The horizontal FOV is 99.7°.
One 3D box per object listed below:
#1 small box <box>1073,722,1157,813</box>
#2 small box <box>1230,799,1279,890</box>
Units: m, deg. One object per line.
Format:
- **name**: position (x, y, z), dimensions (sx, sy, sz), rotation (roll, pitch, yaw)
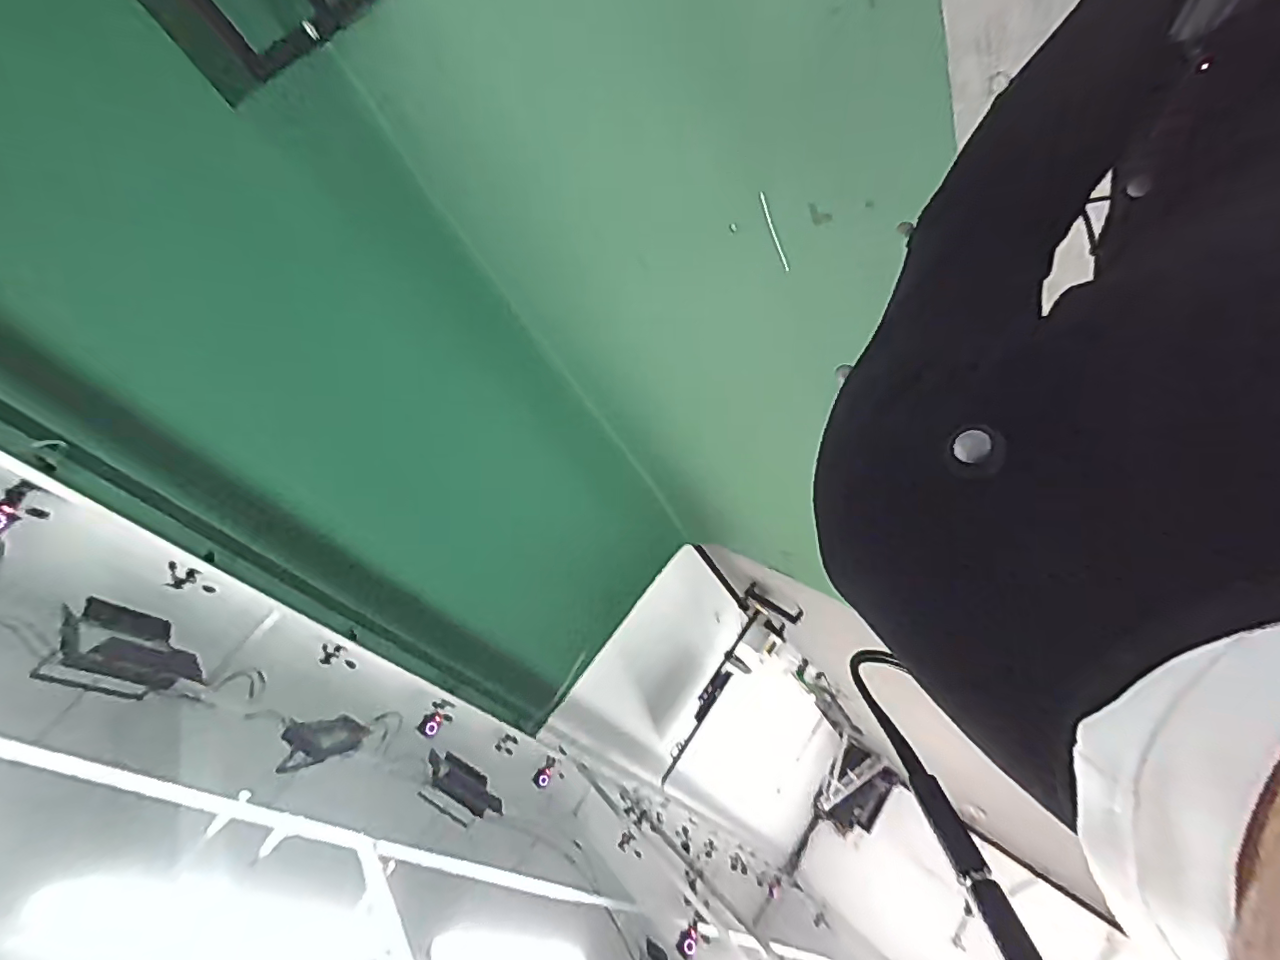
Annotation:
- **small box**: position (1.522, 0.918, 1.734), dimensions (0.168, 0.176, 0.179), rotation (20, 155, 49)
- **small box**: position (1.729, 0.990, 1.442), dimensions (0.168, 0.176, 0.179), rotation (22, 157, 50)
